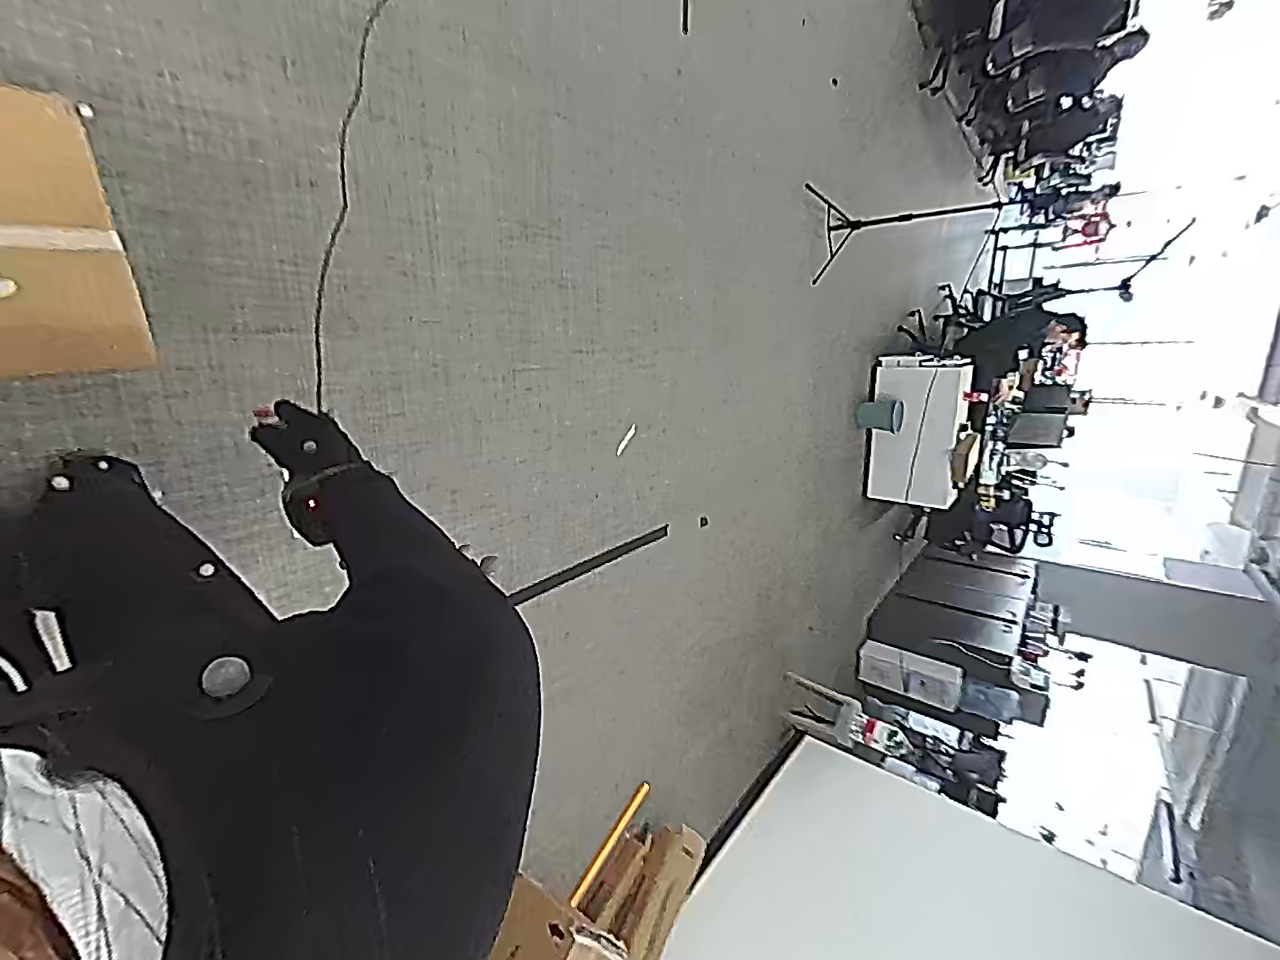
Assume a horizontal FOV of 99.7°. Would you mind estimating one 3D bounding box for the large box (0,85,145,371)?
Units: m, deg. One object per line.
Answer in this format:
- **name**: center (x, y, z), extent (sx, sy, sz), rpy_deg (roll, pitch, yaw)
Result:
- **large box**: center (-0.921, -0.278, 0.637), extent (0.408, 0.320, 0.320), rpy_deg (-23, 116, -47)
